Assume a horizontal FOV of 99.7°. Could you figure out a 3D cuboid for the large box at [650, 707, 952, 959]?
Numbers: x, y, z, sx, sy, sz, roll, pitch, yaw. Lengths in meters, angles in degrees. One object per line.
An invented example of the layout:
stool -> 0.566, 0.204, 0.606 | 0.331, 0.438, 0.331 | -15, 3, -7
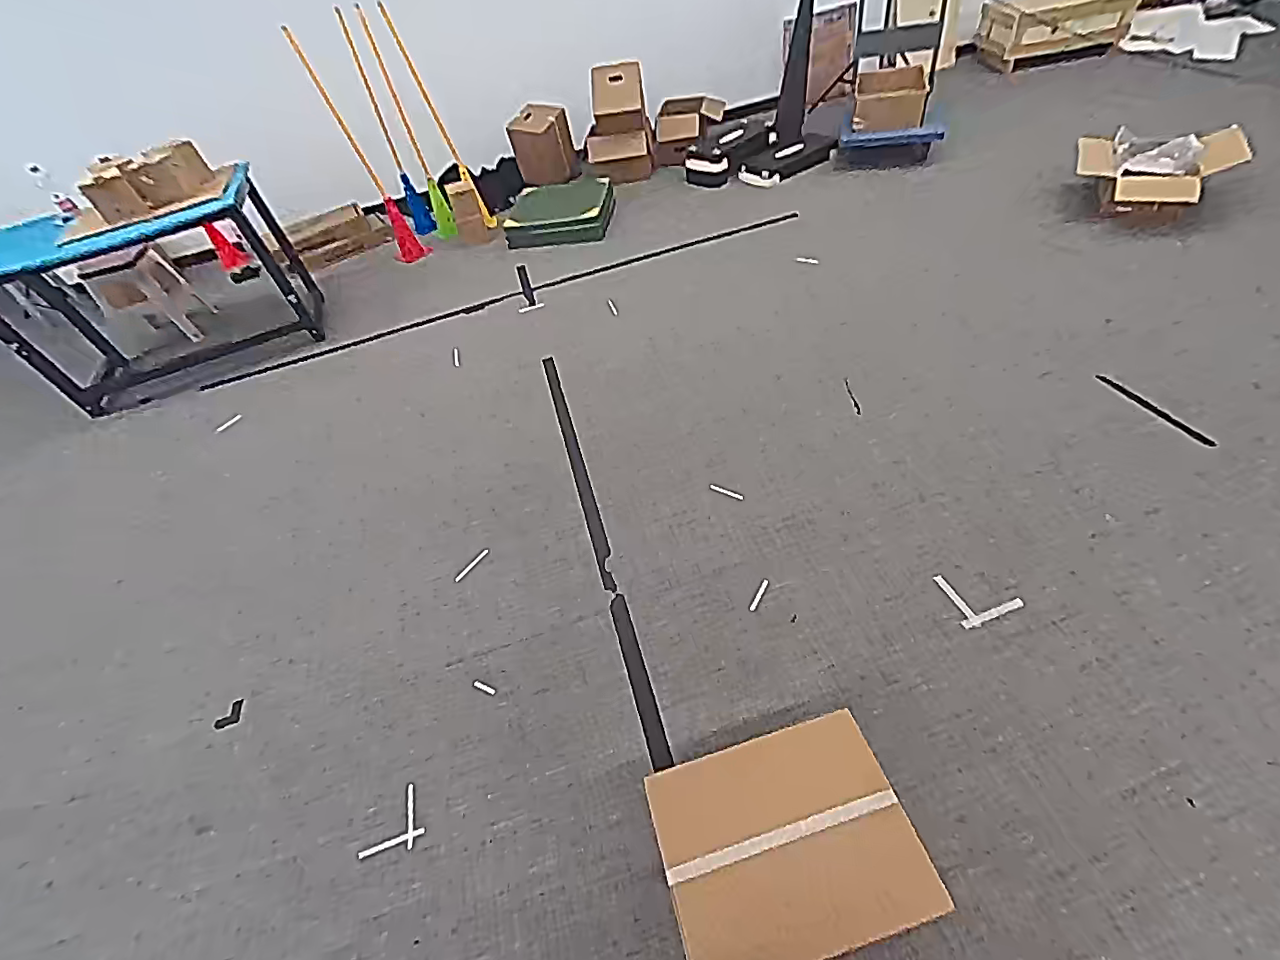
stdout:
large box -> 0.266, 0.689, 1.004 | 0.408, 0.320, 0.320 | -17, 47, -4
